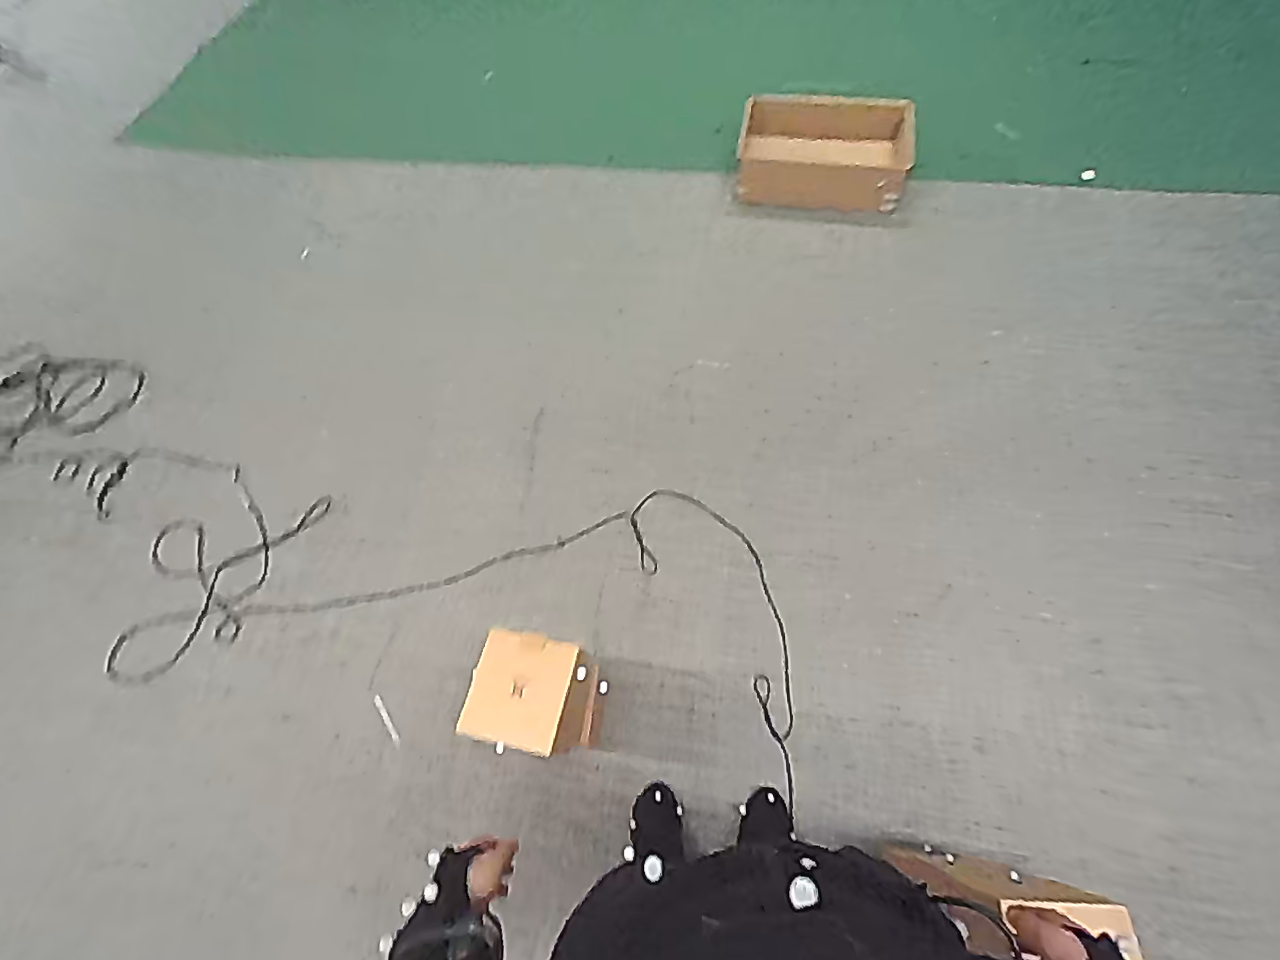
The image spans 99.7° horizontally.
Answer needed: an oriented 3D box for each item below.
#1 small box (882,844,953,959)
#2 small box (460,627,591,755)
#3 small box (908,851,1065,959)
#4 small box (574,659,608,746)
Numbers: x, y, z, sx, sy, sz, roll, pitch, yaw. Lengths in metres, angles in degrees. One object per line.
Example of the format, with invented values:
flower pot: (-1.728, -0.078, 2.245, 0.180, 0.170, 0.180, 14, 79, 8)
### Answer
small box: (0.591, 0.838, 1.069, 0.179, 0.176, 0.168, 5, 64, 7)
small box: (-0.194, 0.387, 0.981, 0.168, 0.176, 0.179, 9, 63, 9)
small box: (0.581, 0.756, 0.929, 0.179, 0.176, 0.168, 3, 65, 4)
small box: (-0.173, 0.521, 1.278, 0.168, 0.176, 0.179, 4, 63, 7)
